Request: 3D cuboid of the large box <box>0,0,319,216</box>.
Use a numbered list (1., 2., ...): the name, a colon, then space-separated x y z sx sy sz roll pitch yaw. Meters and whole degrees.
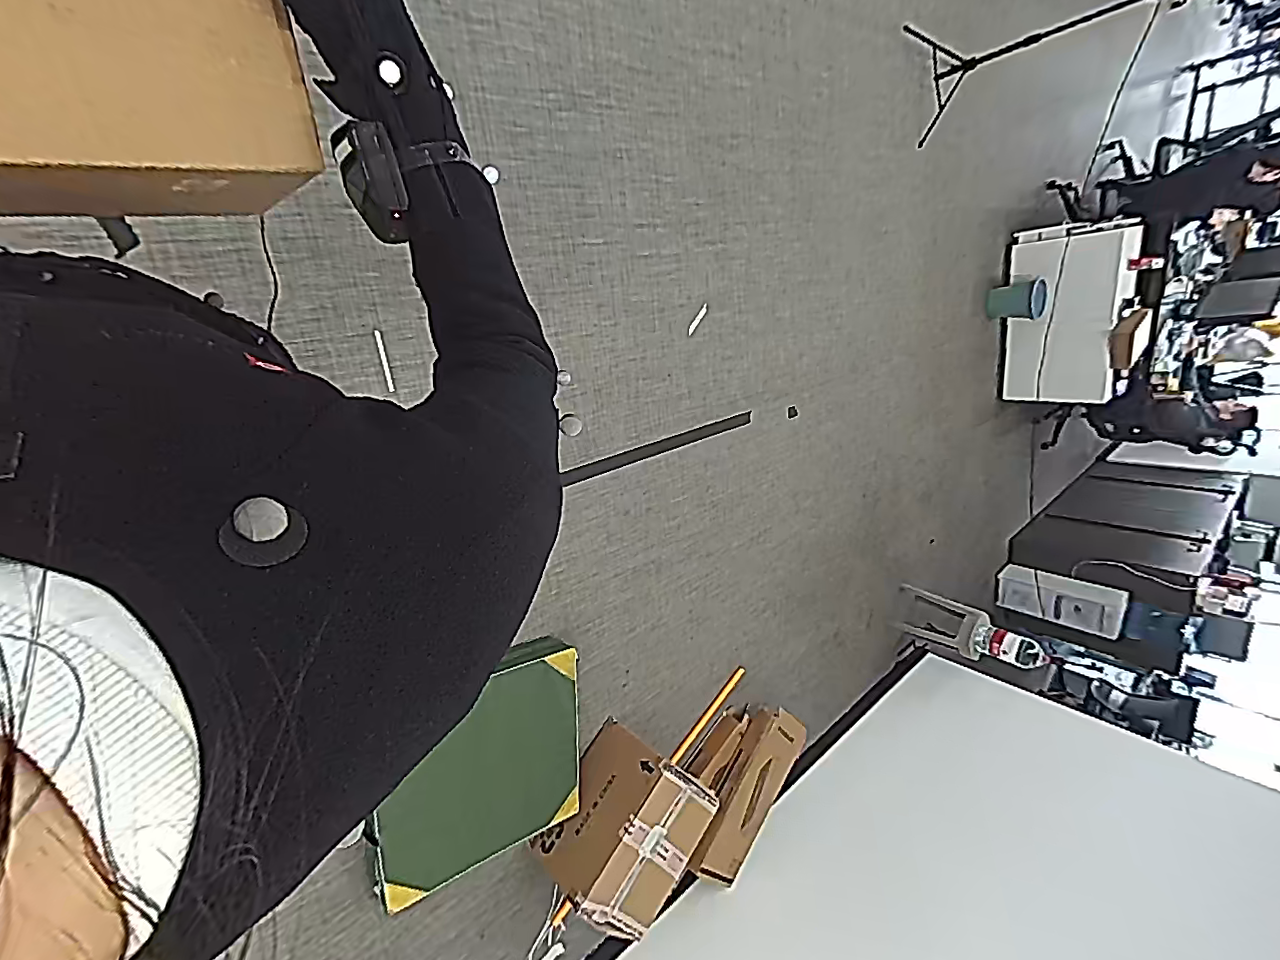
1. large box: -0.487 -0.339 0.320 0.408 0.320 0.320 -22 120 -36
